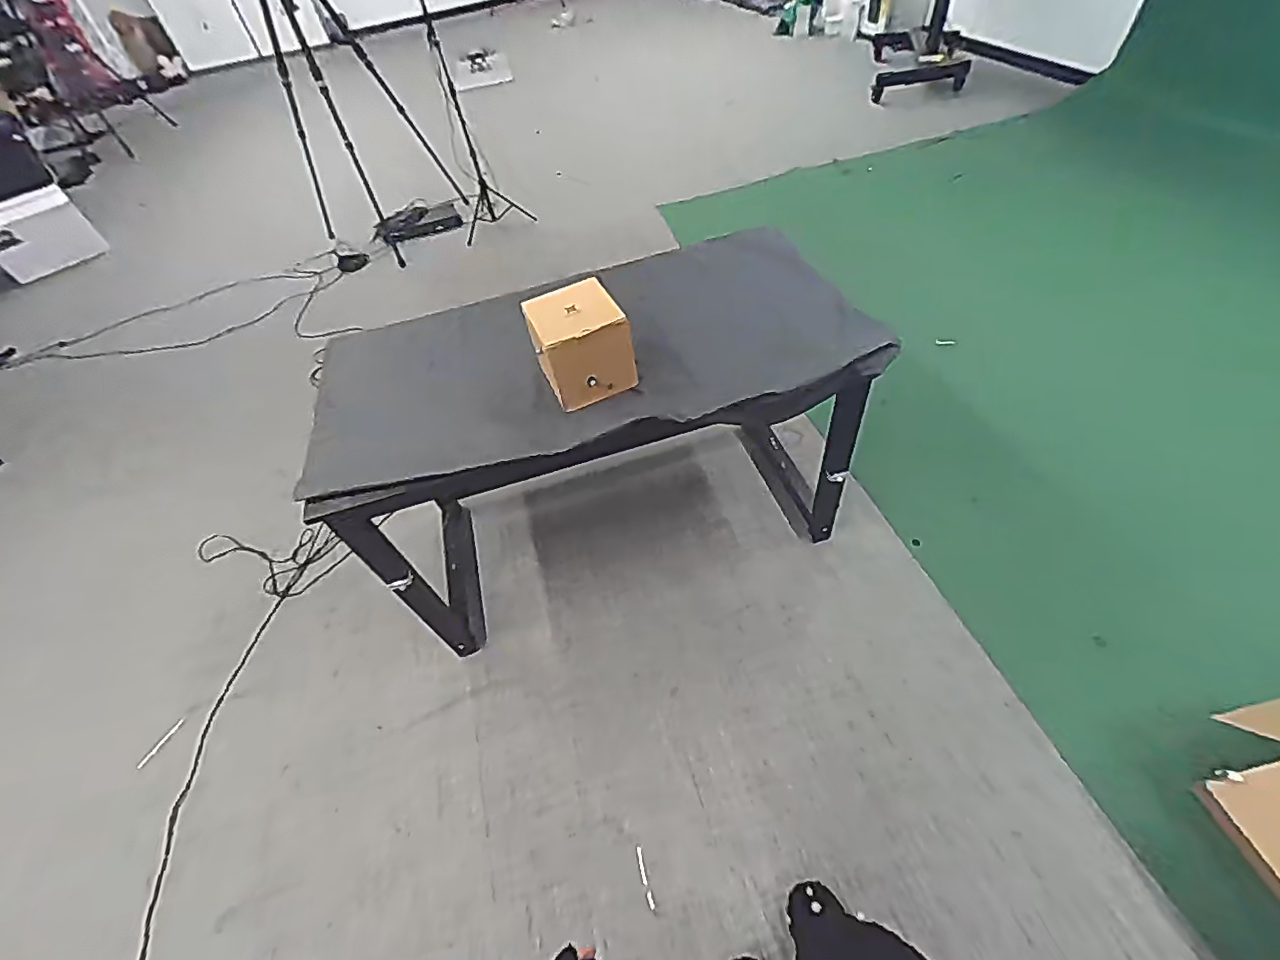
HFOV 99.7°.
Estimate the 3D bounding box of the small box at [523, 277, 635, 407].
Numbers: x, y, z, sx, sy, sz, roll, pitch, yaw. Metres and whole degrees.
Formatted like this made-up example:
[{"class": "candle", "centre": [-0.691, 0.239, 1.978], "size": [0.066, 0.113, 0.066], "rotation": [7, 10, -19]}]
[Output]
[{"class": "small box", "centre": [-0.122, -0.281, 1.110], "size": [0.168, 0.176, 0.179], "rotation": [-23, 52, -10]}]
